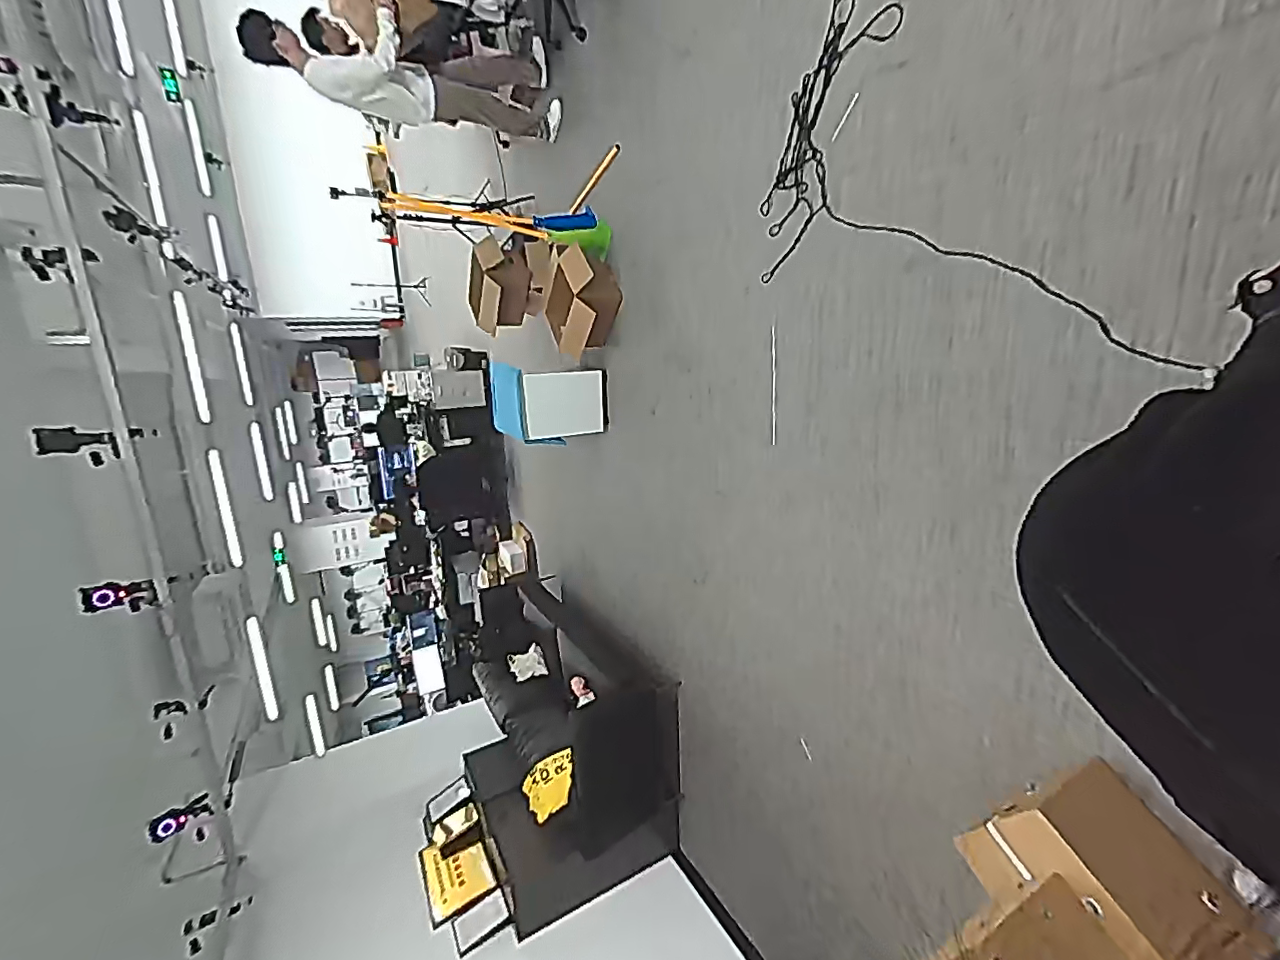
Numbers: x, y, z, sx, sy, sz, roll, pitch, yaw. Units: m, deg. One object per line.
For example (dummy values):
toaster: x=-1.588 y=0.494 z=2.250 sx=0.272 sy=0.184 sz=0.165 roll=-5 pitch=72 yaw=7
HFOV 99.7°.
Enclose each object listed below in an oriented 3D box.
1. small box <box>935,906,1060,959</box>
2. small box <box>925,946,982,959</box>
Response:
small box: x=0.742 y=1.009 z=1.086 sx=0.179 sy=0.176 sz=0.168 roll=58 pitch=145 yaw=38
small box: x=0.591 y=1.025 z=1.019 sx=0.168 sy=0.176 sz=0.179 roll=59 pitch=145 yaw=39
